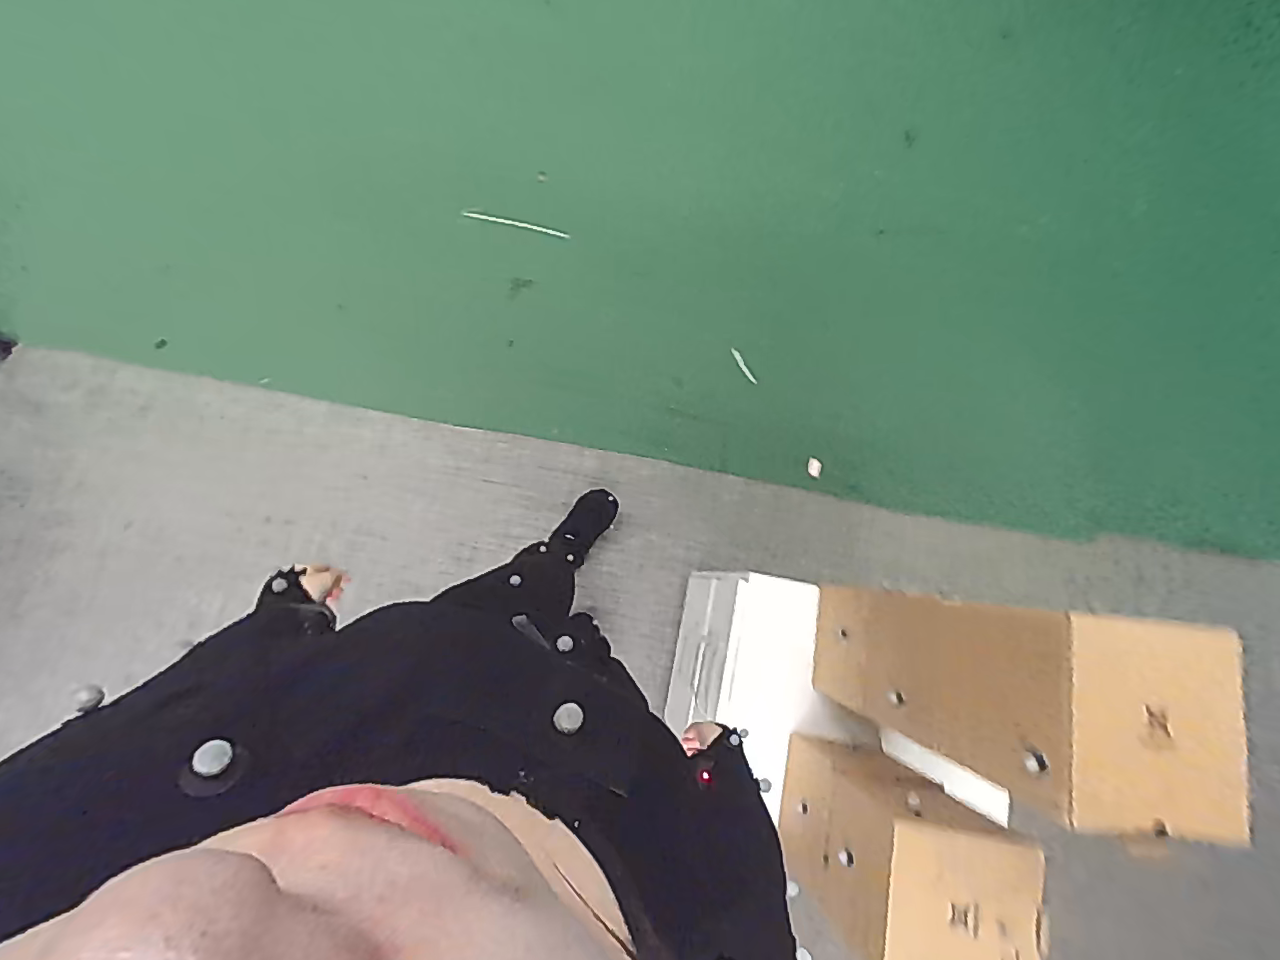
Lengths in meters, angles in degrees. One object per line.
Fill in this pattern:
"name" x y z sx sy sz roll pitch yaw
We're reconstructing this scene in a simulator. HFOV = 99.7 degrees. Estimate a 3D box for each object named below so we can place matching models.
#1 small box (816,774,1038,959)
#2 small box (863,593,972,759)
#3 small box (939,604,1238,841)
"small box" 0.334 0.481 0.658 0.179 0.176 0.168 12 79 -4
"small box" 0.411 0.249 0.707 0.168 0.176 0.179 7 81 -6
"small box" 0.432 0.225 0.547 0.168 0.176 0.179 8 82 -5
